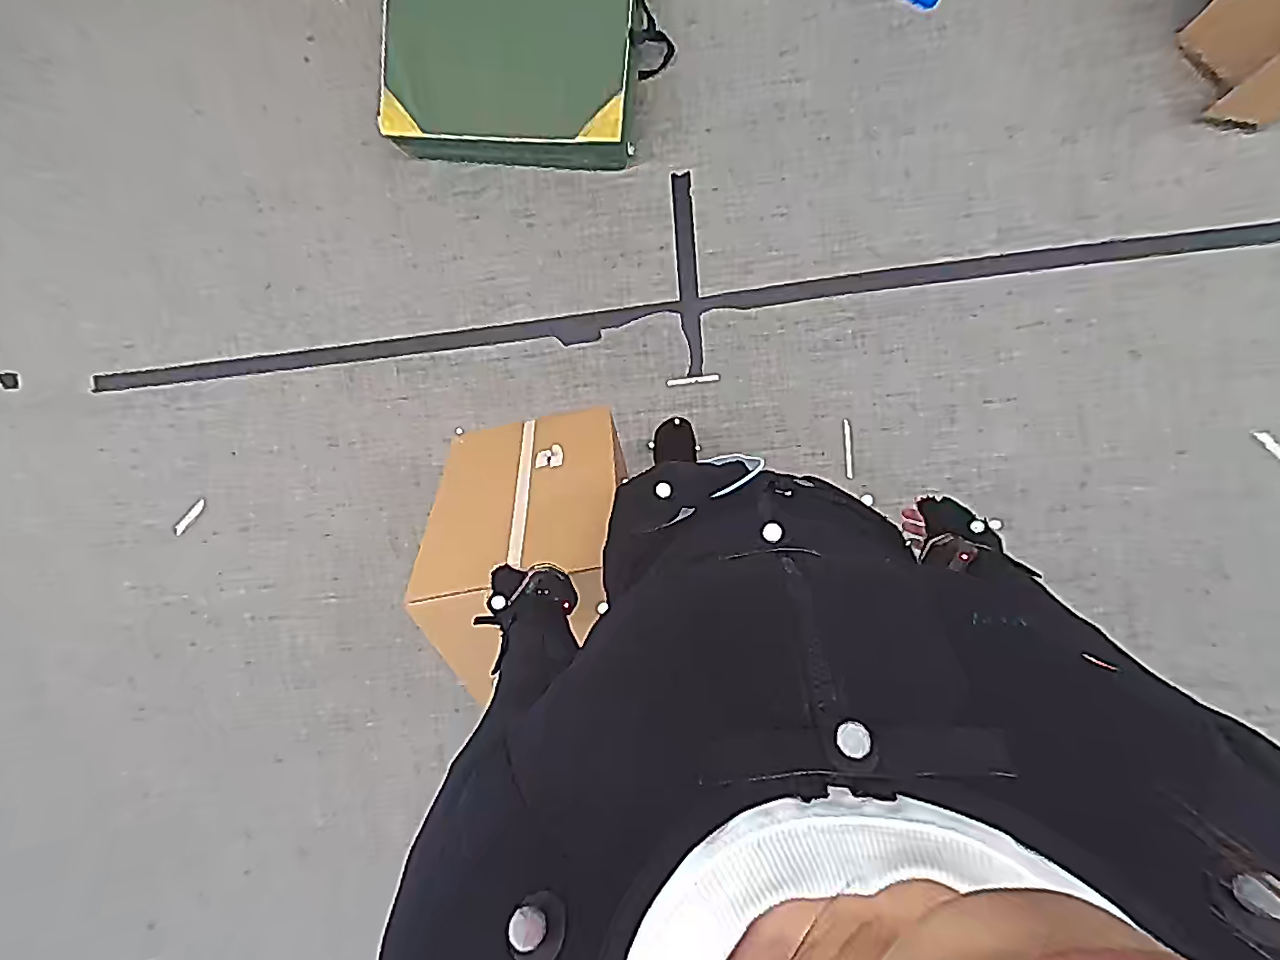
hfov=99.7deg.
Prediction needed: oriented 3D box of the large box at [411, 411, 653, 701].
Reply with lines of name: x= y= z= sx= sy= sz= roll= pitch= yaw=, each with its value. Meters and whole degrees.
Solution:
large box: x=-0.169 y=0.131 z=1.006 sx=0.320 sy=0.408 sz=0.320 roll=-10 pitch=129 yaw=3
